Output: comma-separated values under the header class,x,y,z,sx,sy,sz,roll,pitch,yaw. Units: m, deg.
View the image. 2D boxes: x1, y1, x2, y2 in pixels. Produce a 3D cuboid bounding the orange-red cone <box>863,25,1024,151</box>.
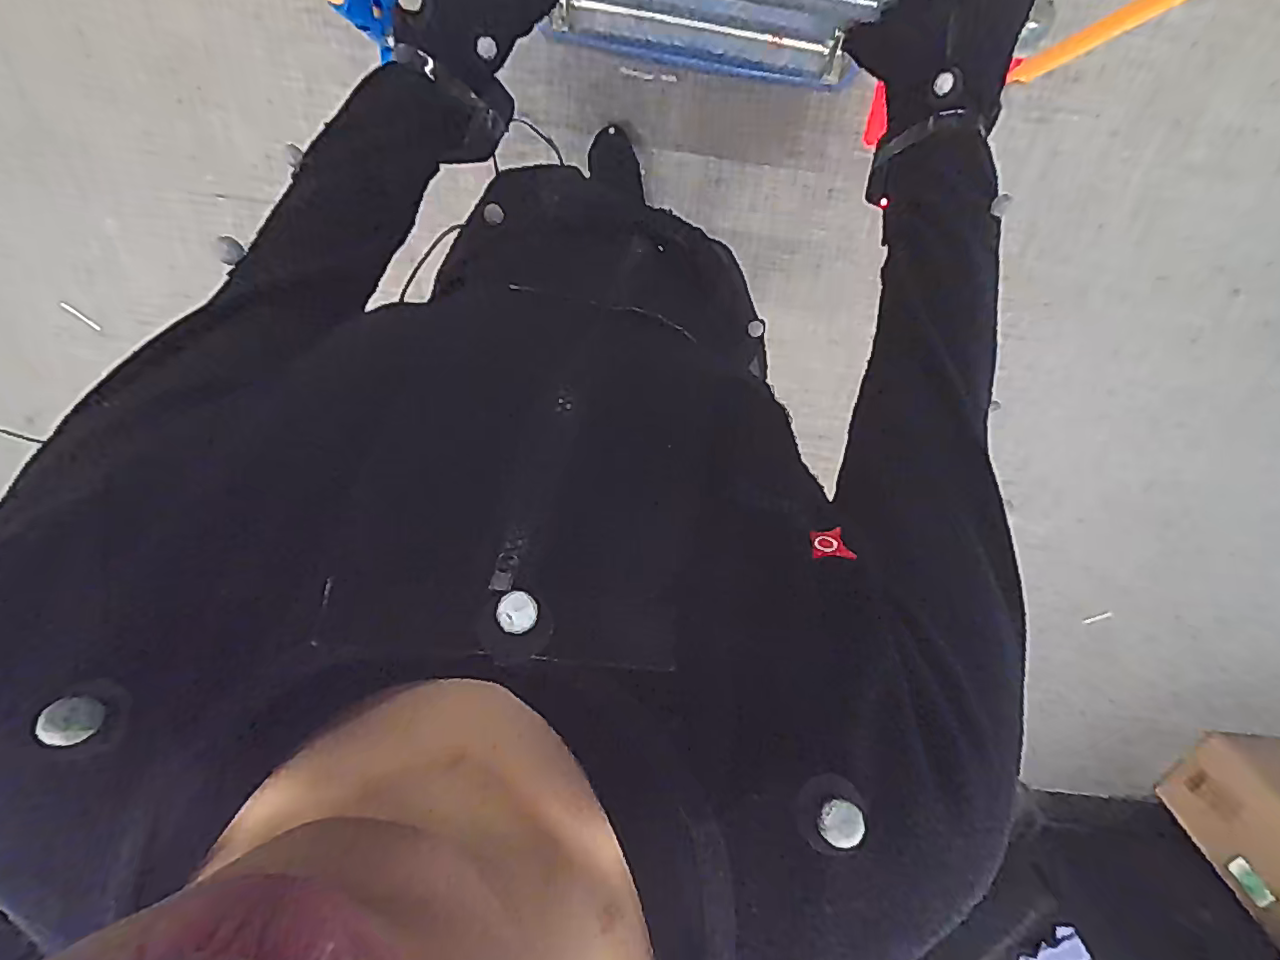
class,x,y,z,sx,sy,sz,roll,pitch,yaw
orange-red cone,0.567,-0.709,0.962,0.199,0.360,0.198,8,121,0
